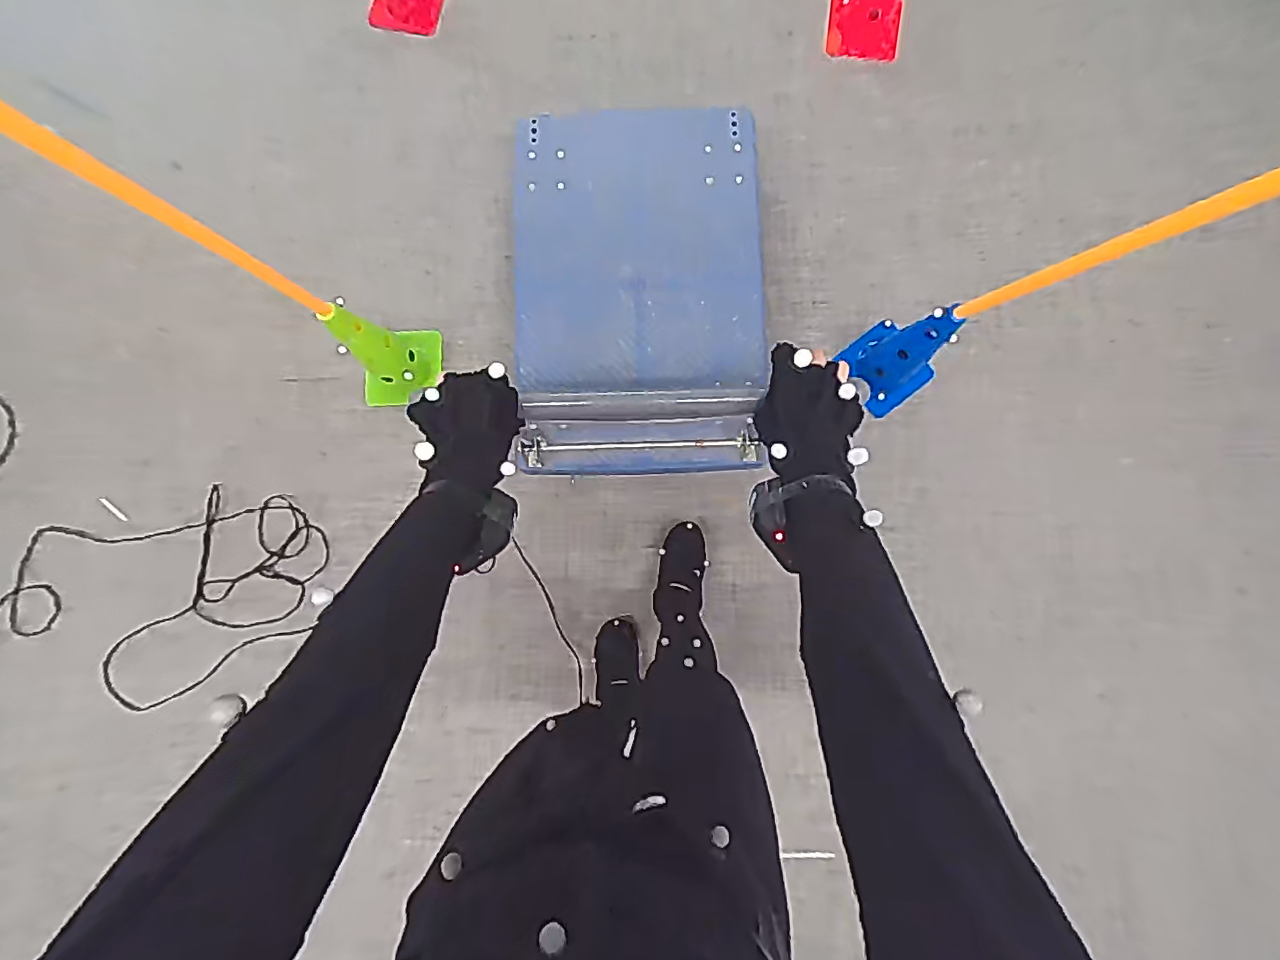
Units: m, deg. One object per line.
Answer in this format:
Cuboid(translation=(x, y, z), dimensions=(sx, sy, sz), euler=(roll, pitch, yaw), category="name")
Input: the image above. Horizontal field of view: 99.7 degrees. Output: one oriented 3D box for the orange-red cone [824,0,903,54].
Cuboid(translation=(0.610, -1.287, 1.318), dimensions=(0.198, 0.360, 0.199), euler=(10, 85, 3), category="orange-red cone")
